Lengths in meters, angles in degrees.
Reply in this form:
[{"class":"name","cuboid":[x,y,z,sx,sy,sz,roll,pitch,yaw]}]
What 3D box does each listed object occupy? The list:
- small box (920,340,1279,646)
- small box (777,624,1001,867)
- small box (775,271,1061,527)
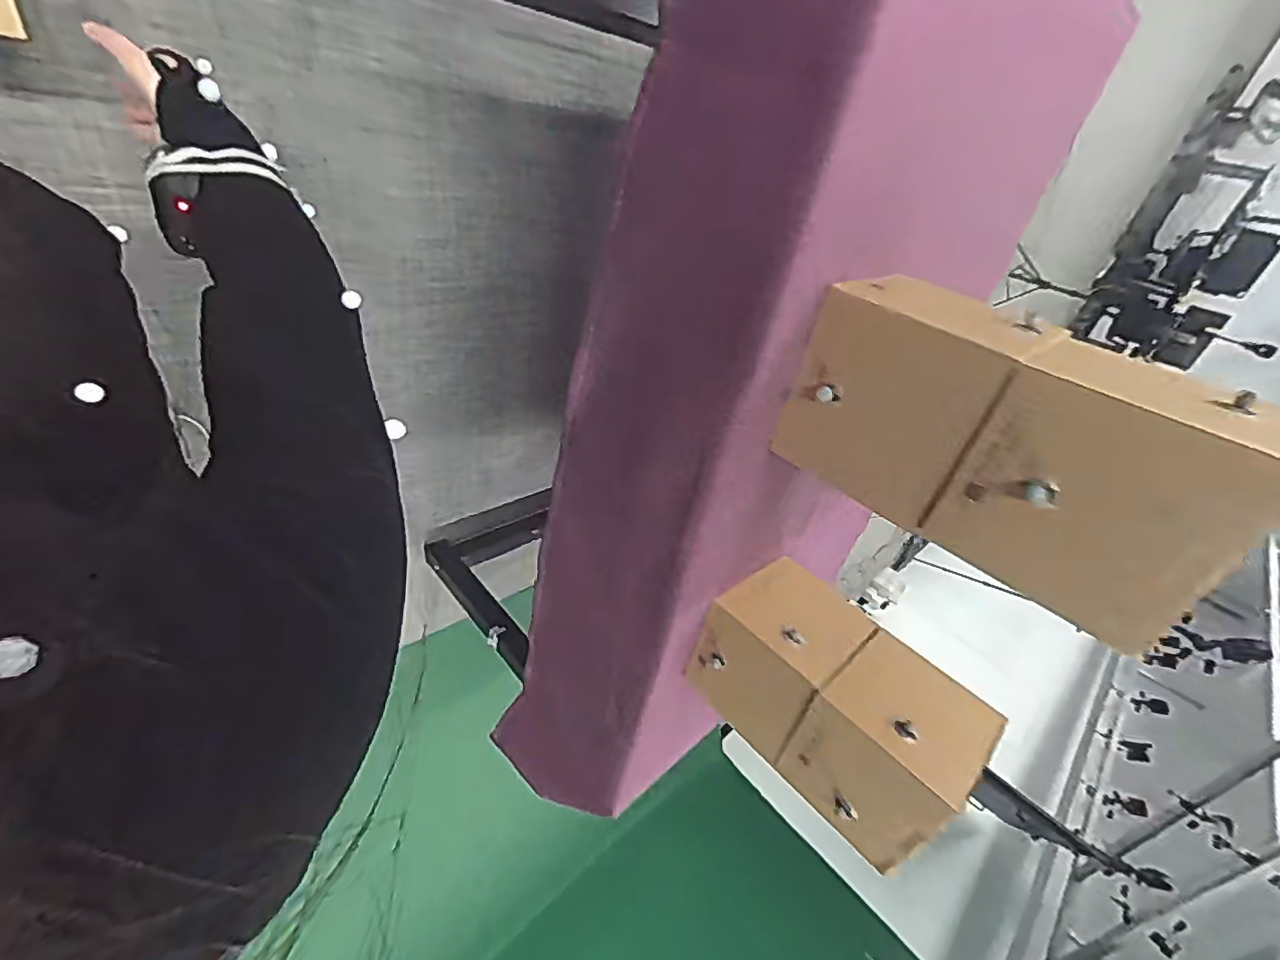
[{"class":"small box","cuboid":[0.377,-0.006,0.455,0.179,0.176,0.168,-22,136,-40]},{"class":"small box","cuboid":[0.302,0.320,0.680,0.179,0.176,0.168,-21,137,-40]},{"class":"small box","cuboid":[0.261,-0.090,0.539,0.168,0.176,0.179,-24,139,-39]}]
